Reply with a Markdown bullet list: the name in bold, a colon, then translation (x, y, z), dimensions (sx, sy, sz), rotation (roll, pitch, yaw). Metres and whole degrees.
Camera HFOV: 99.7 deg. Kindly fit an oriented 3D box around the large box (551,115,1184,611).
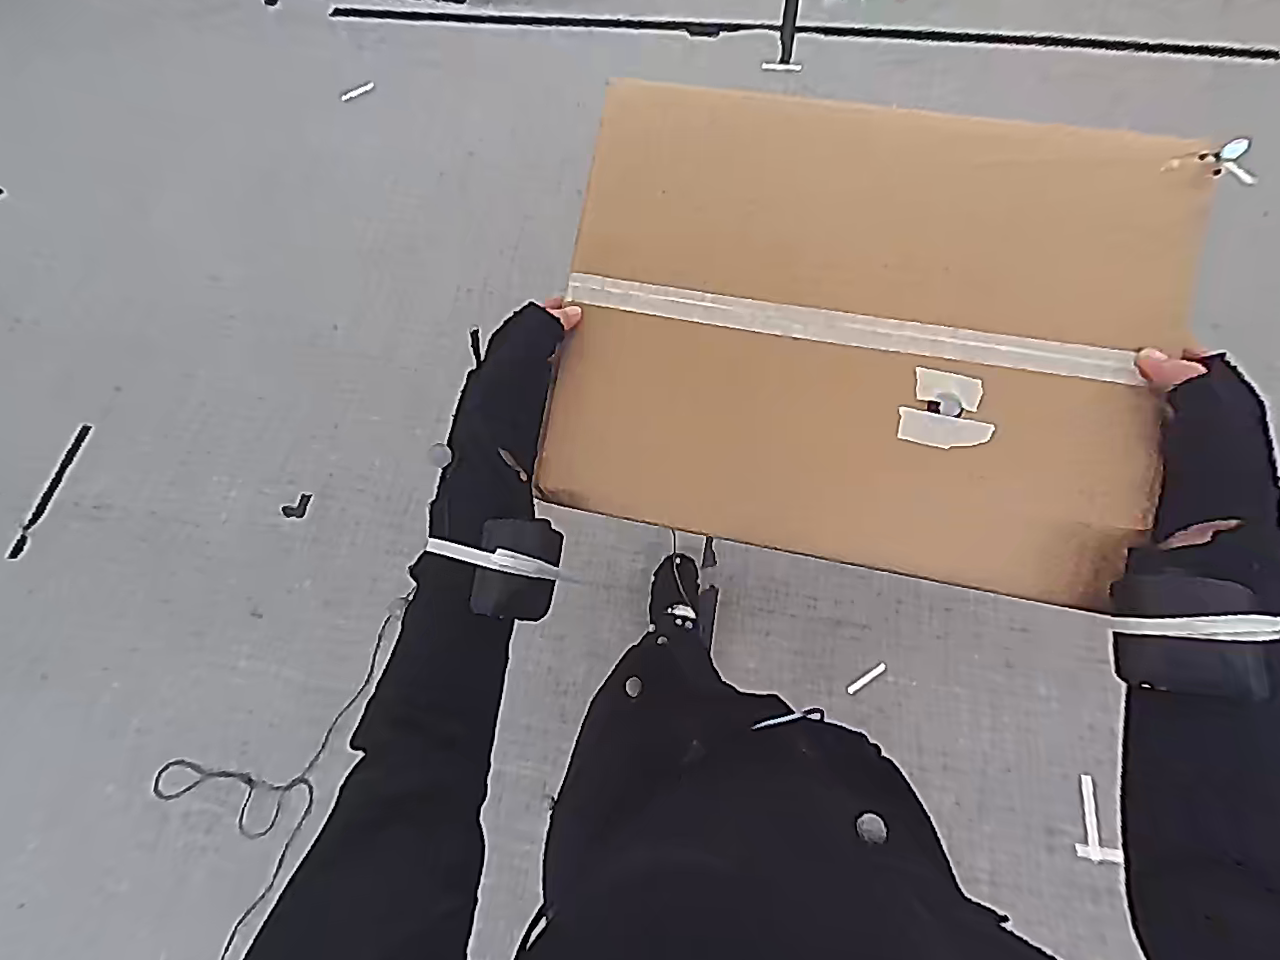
- **large box**: translation (0.163, -0.088, 0.531), dimensions (0.408, 0.320, 0.320), rotation (10, 90, 6)
